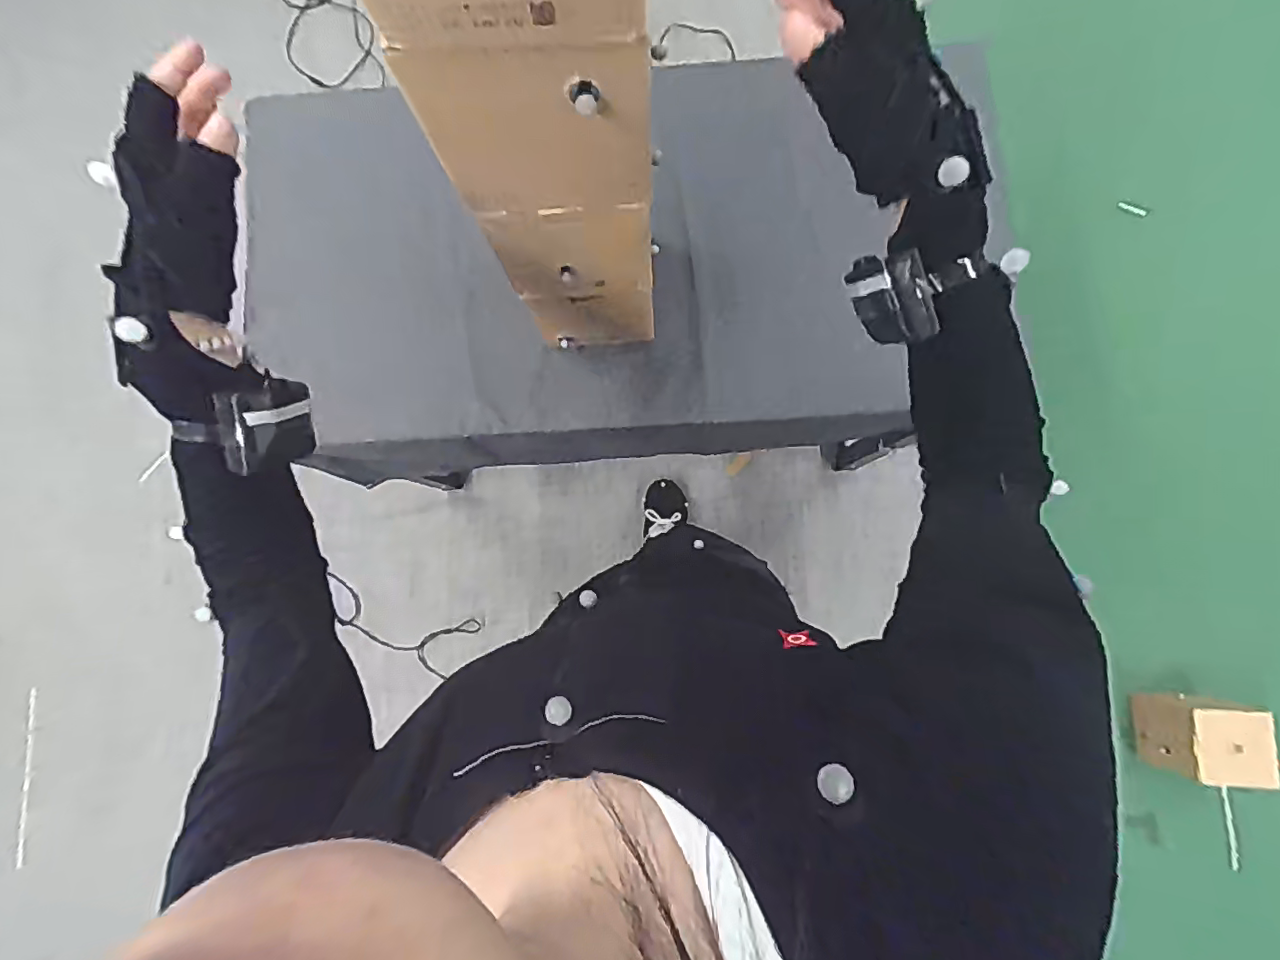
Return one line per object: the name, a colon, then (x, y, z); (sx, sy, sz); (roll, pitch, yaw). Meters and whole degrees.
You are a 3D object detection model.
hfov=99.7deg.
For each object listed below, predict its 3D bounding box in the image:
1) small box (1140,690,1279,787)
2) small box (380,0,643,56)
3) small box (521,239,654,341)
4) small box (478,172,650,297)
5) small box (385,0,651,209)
small box: (1.357, 0.613, 1.302); (0.179, 0.176, 0.168); (2, 83, 3)
small box: (-0.082, -0.370, 0.280); (0.168, 0.176, 0.179); (-1, 82, 2)
small box: (-0.068, -0.307, 0.766); (0.168, 0.176, 0.179); (-3, 81, 2)
small box: (-0.075, -0.328, 0.605); (0.168, 0.176, 0.179); (-3, 82, 2)
small box: (-0.080, -0.348, 0.442); (0.179, 0.176, 0.168); (-2, 82, 2)
